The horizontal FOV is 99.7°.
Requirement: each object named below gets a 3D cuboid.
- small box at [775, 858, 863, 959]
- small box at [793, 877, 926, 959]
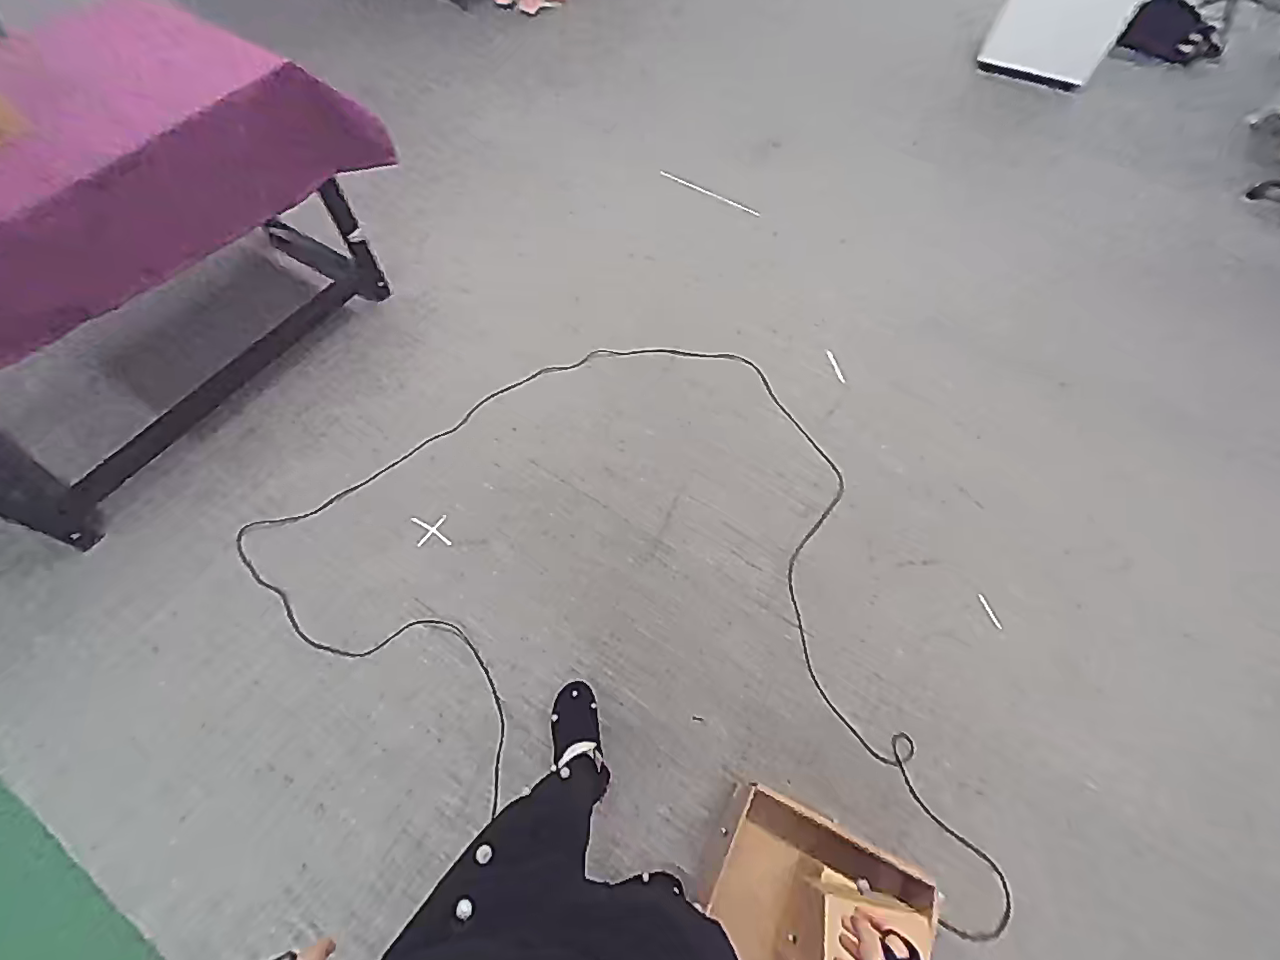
[{"bbox_3d":[0.378,0.878,1.051,0.168,0.176,0.179,25,67,13],"label":"small box"},{"bbox_3d":[0.360,0.804,0.906,0.168,0.176,0.179,10,64,5],"label":"small box"}]
